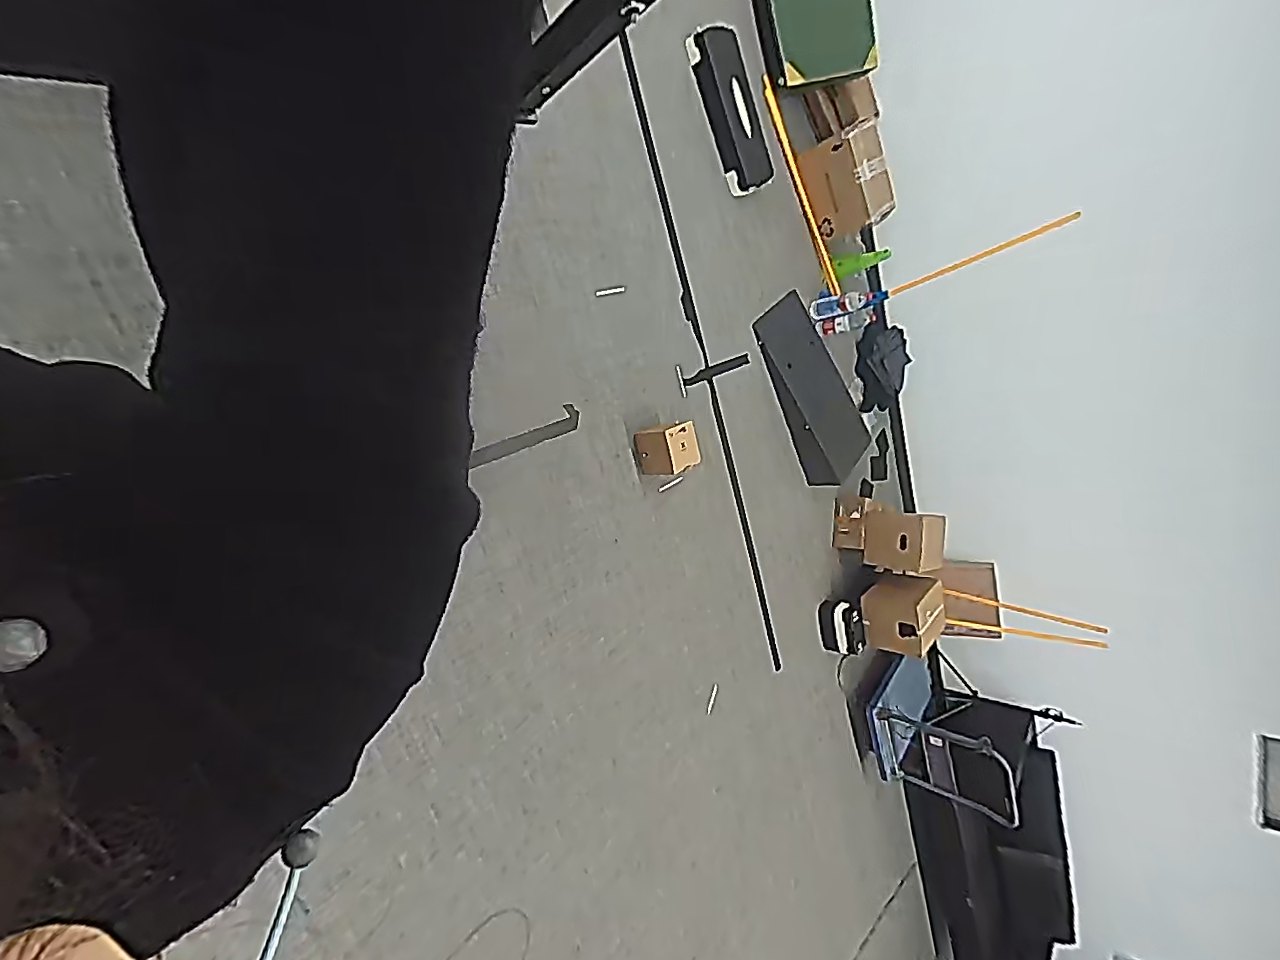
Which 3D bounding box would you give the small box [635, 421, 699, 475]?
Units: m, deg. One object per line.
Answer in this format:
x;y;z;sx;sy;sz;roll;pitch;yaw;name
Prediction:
0.105;-0.127;2.126;0.168;0.176;0.179;-25;108;-42;small box
